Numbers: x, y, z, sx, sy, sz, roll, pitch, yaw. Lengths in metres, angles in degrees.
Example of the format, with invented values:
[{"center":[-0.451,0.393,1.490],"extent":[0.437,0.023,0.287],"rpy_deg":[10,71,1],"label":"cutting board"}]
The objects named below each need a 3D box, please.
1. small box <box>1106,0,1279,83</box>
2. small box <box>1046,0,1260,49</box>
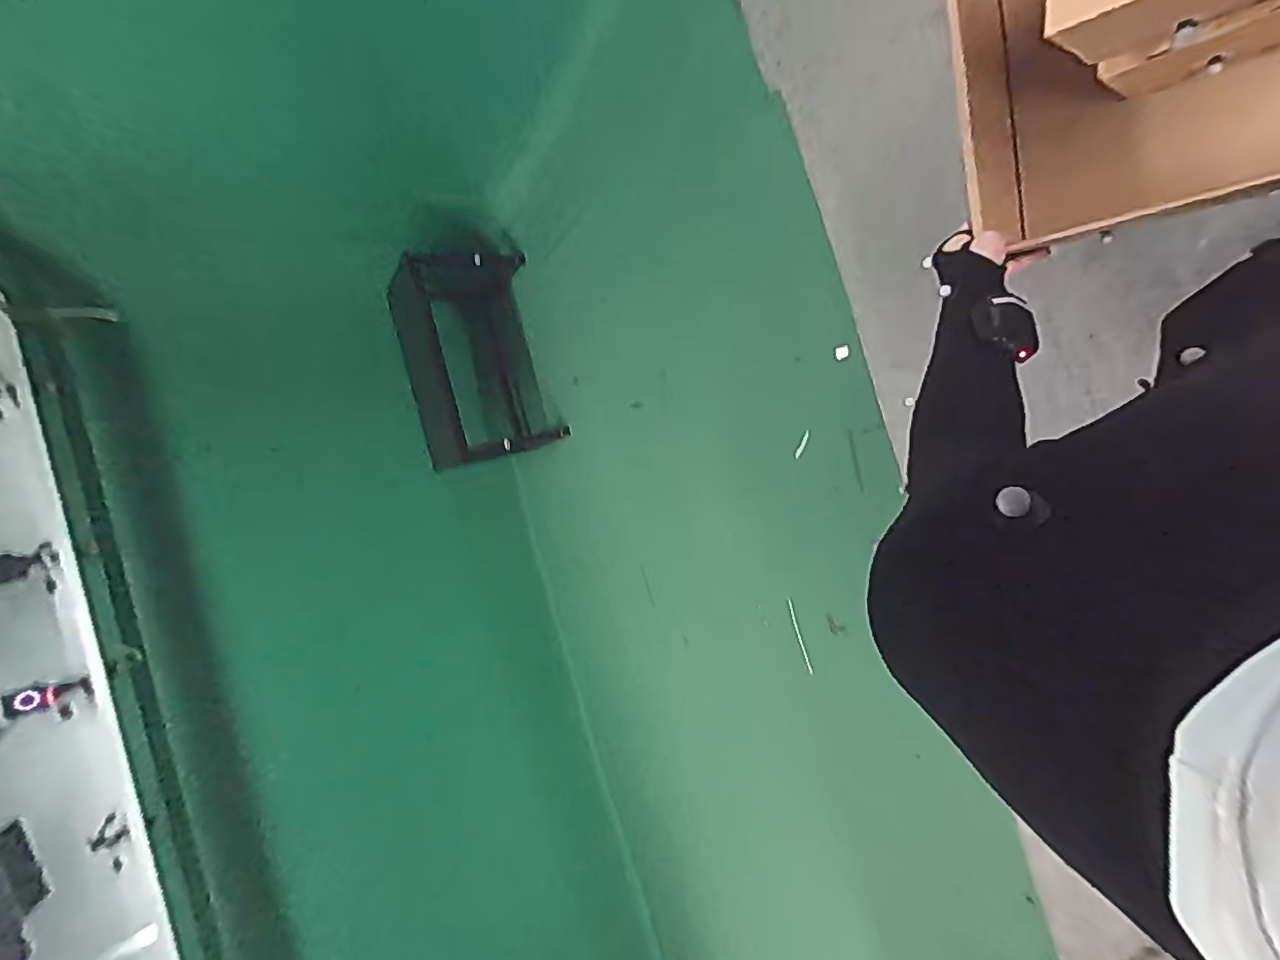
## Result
[{"center":[0.526,-0.484,0.466],"extent":[0.168,0.176,0.179],"rpy_deg":[6,113,49],"label":"small box"},{"center":[0.404,-0.439,0.367],"extent":[0.168,0.176,0.179],"rpy_deg":[12,117,48],"label":"small box"}]
